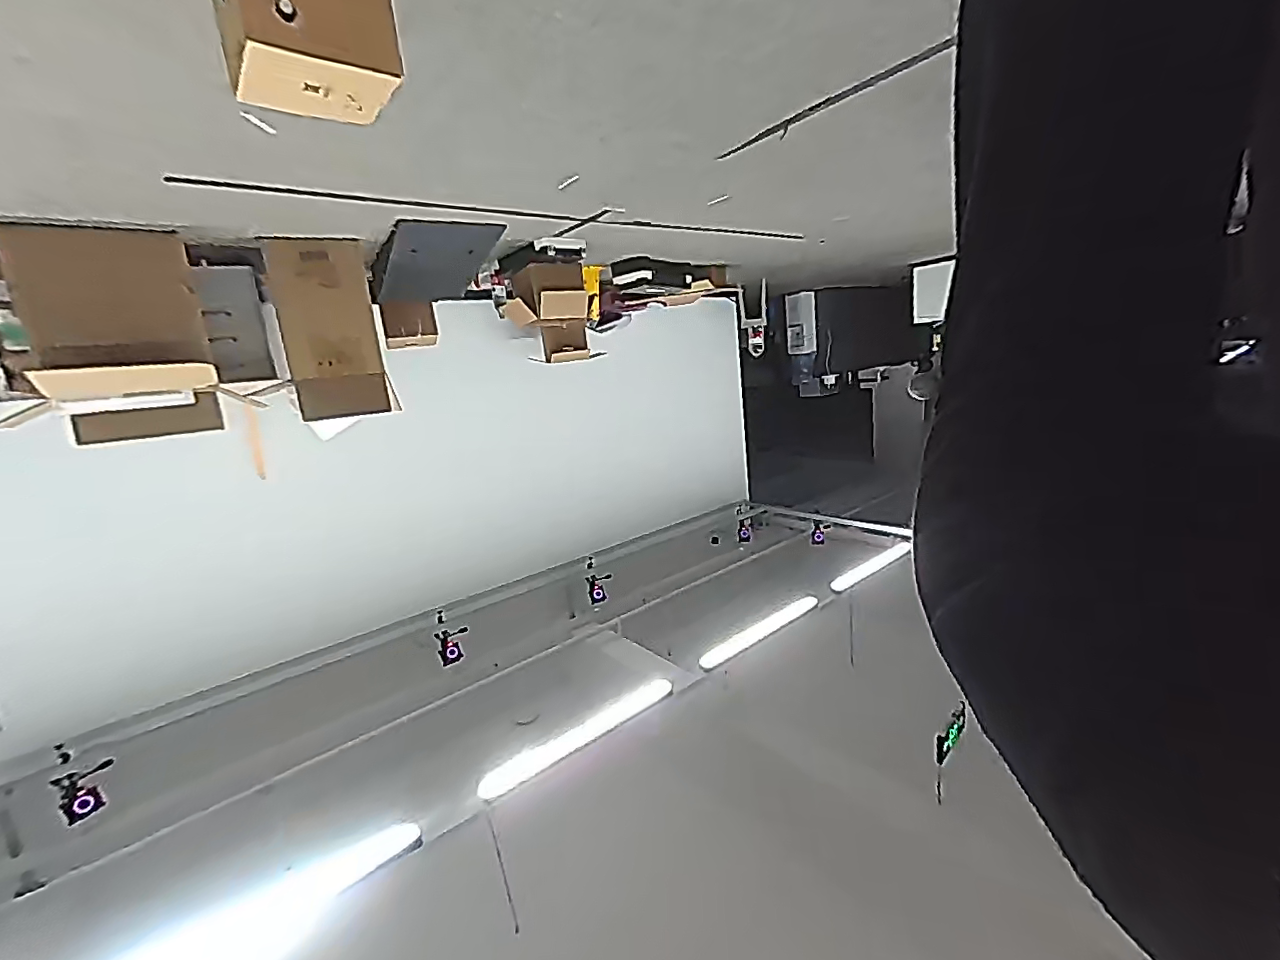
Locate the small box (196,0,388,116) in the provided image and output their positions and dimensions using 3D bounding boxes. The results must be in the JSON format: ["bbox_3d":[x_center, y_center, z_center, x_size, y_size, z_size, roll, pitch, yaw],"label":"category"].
[{"bbox_3d":[-0.450,-0.605,0.686,0.179,0.176,0.168,-16,-163,-39],"label":"small box"}]
